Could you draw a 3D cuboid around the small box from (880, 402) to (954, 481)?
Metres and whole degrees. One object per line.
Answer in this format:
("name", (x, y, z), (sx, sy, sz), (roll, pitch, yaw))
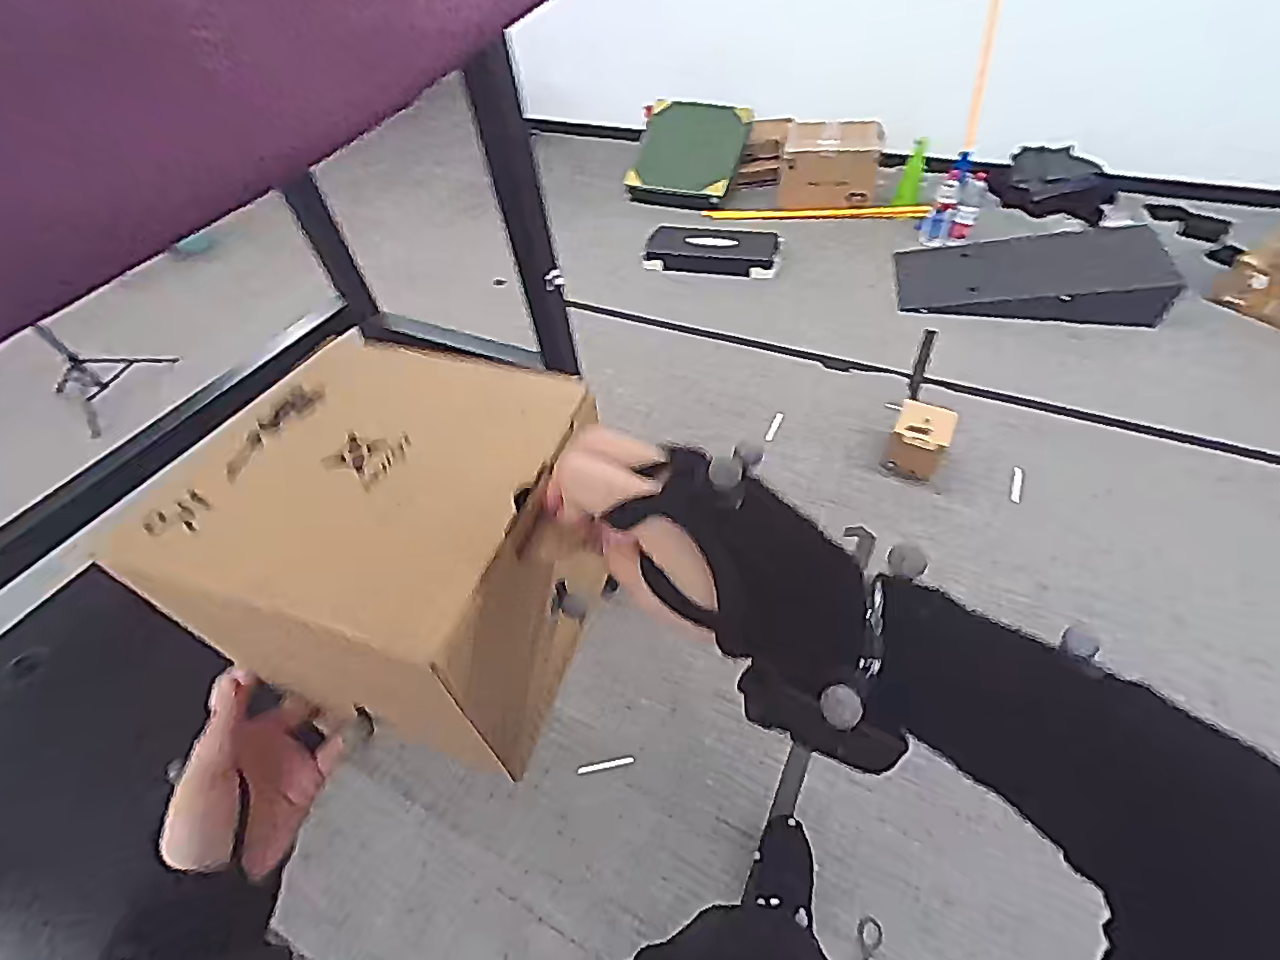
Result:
("small box", (0.920, -0.125, 1.808), (0.168, 0.176, 0.179), (21, 55, 21))

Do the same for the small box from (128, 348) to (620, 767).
("small box", (-0.117, 0.049, 0.327), (0.179, 0.176, 0.168), (13, 49, 13))
